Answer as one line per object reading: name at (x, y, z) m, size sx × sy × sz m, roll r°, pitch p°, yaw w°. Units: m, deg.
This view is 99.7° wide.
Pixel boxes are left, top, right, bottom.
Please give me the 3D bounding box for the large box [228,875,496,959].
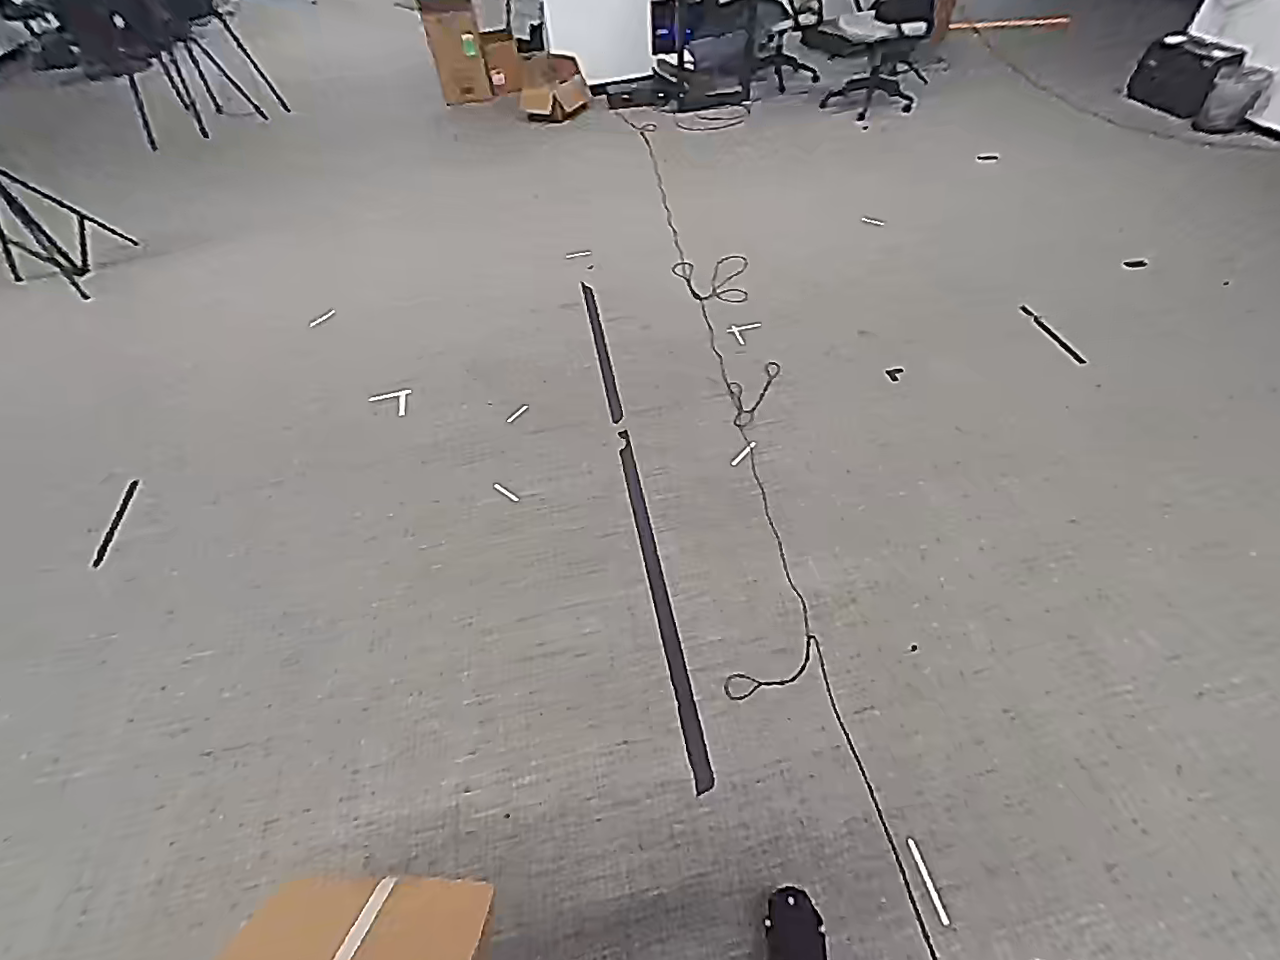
large box at (-0.376, 0.760, 0.628) m, size 0.320 × 0.408 × 0.320 m, roll 3°, pitch 89°, yaw -1°
